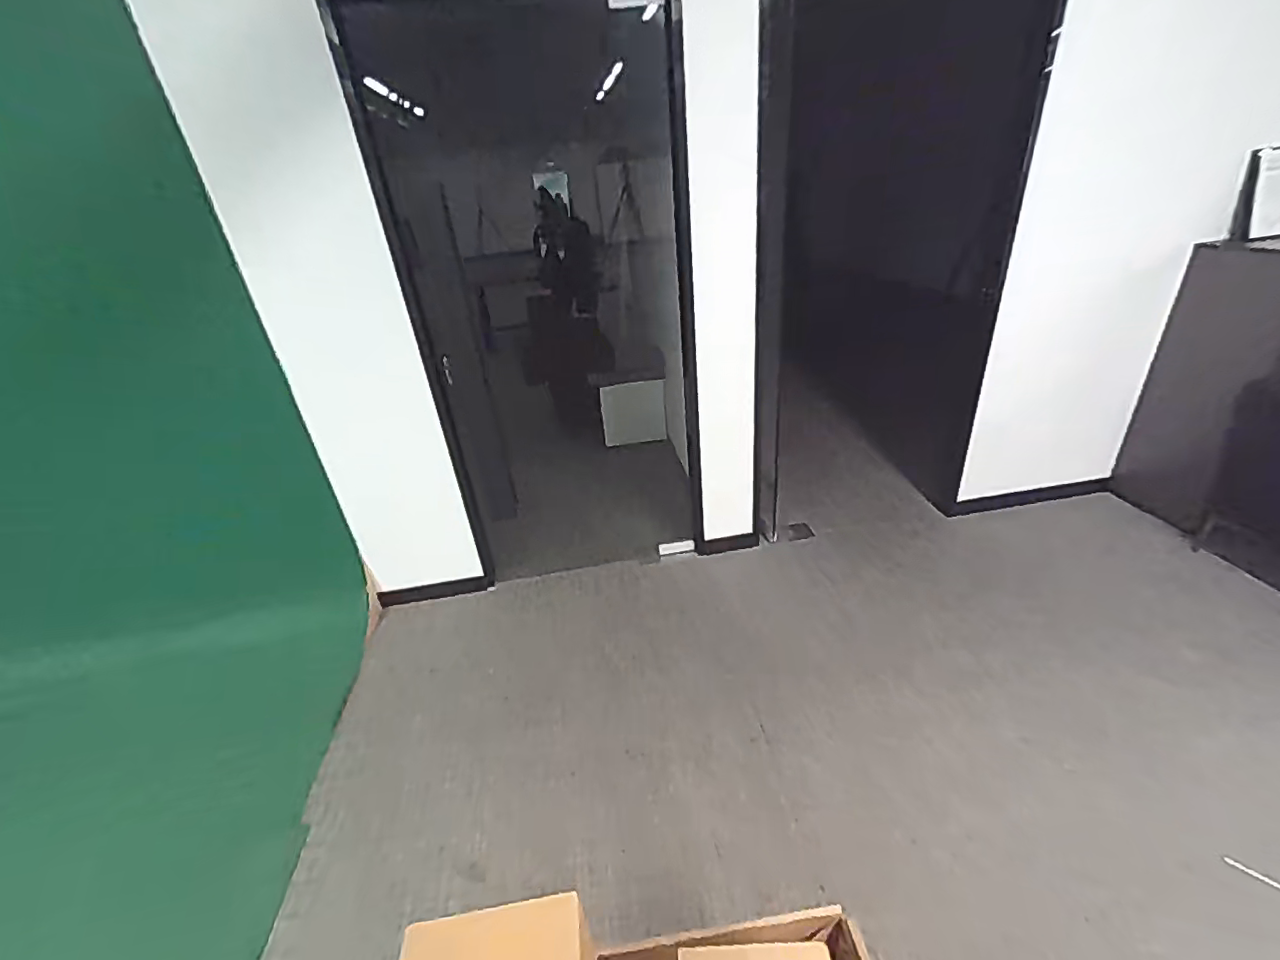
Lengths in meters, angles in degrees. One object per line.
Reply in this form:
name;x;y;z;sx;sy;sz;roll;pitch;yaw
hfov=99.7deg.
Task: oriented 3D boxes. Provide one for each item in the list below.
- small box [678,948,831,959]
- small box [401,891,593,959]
small box;0.128;0.644;0.586;0.179;0.176;0.168;0;30;-2
small box;-0.123;0.518;0.480;0.168;0.176;0.179;-8;29;-4
